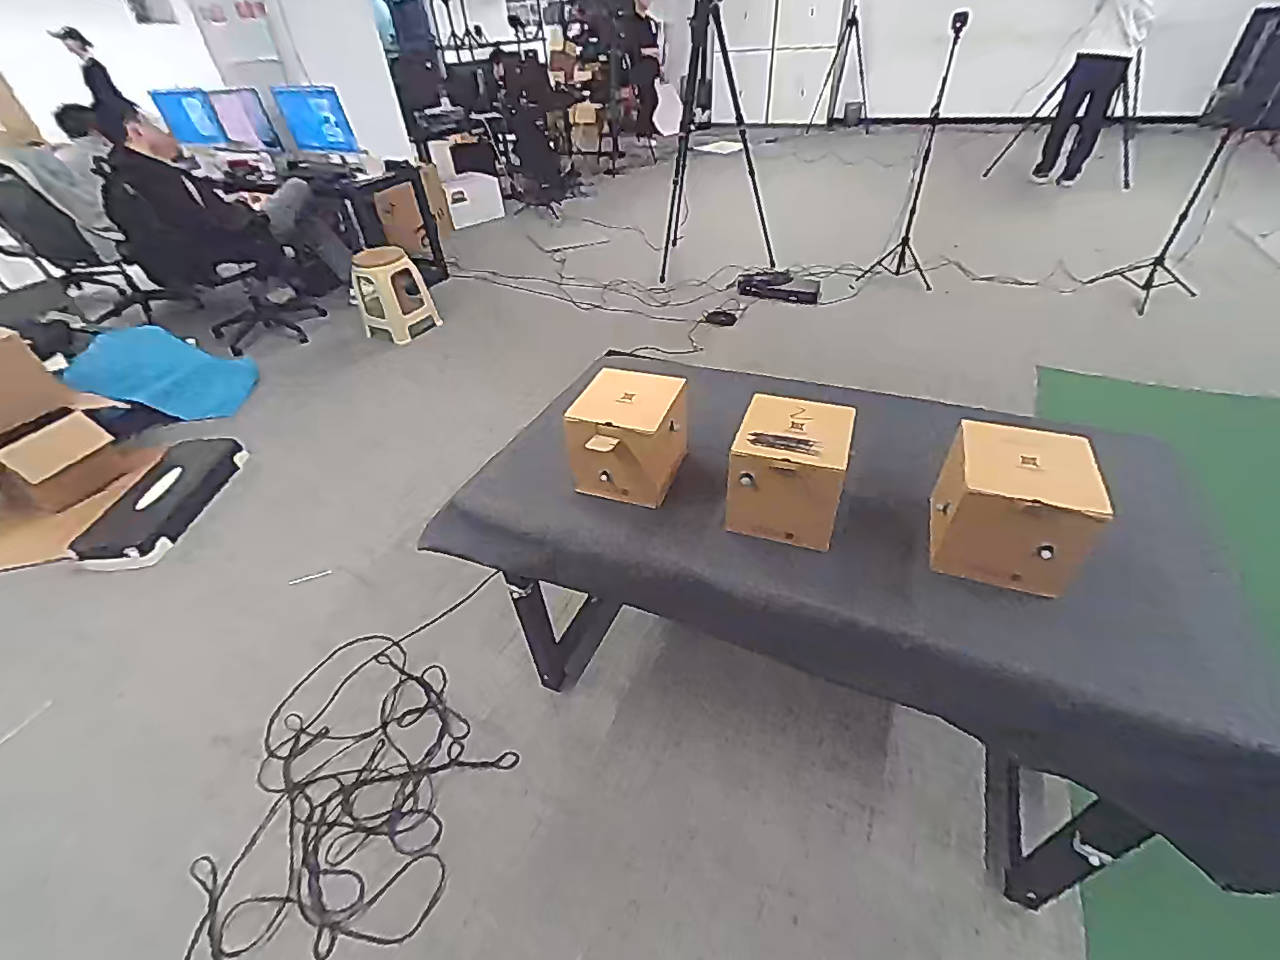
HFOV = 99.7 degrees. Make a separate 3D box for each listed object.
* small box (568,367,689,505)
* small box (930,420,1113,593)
[{"bbox_3d":[-0.015,-0.083,0.986,0.168,0.176,0.179,12,43,17],"label":"small box"},{"bbox_3d":[0.541,0.037,0.798,0.168,0.176,0.179,13,42,18],"label":"small box"}]
